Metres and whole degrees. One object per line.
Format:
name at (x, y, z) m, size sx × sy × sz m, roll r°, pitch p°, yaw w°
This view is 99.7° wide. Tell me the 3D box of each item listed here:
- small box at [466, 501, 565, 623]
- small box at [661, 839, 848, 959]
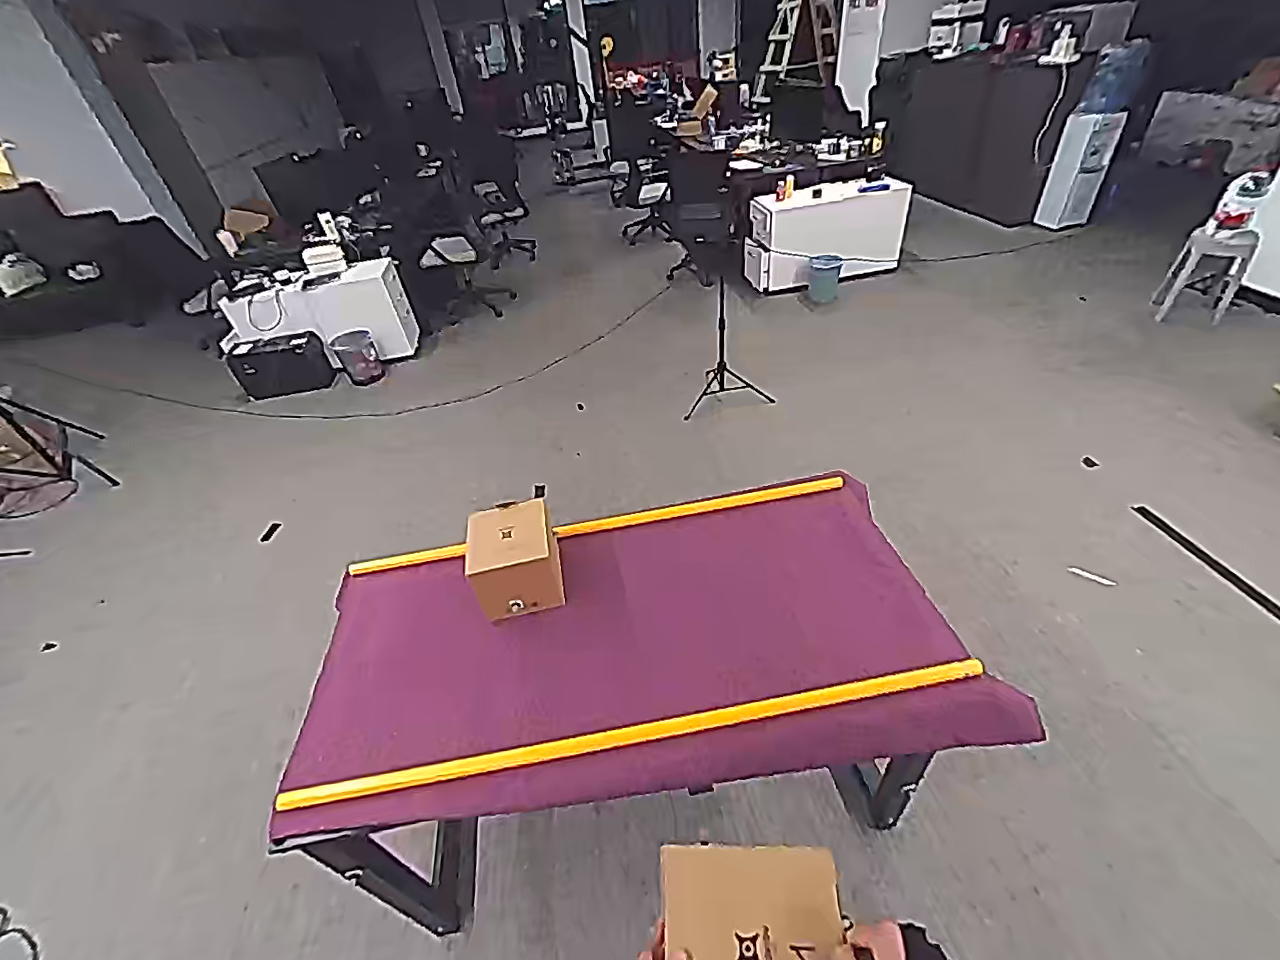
small box at (-0.263, 0.175, 1.156) m, size 0.168 × 0.176 × 0.179 m, roll -13°, pitch 41°, yaw -5°
small box at (0.110, 0.487, 0.578) m, size 0.179 × 0.176 × 0.168 m, roll 0°, pitch 56°, yaw 1°
